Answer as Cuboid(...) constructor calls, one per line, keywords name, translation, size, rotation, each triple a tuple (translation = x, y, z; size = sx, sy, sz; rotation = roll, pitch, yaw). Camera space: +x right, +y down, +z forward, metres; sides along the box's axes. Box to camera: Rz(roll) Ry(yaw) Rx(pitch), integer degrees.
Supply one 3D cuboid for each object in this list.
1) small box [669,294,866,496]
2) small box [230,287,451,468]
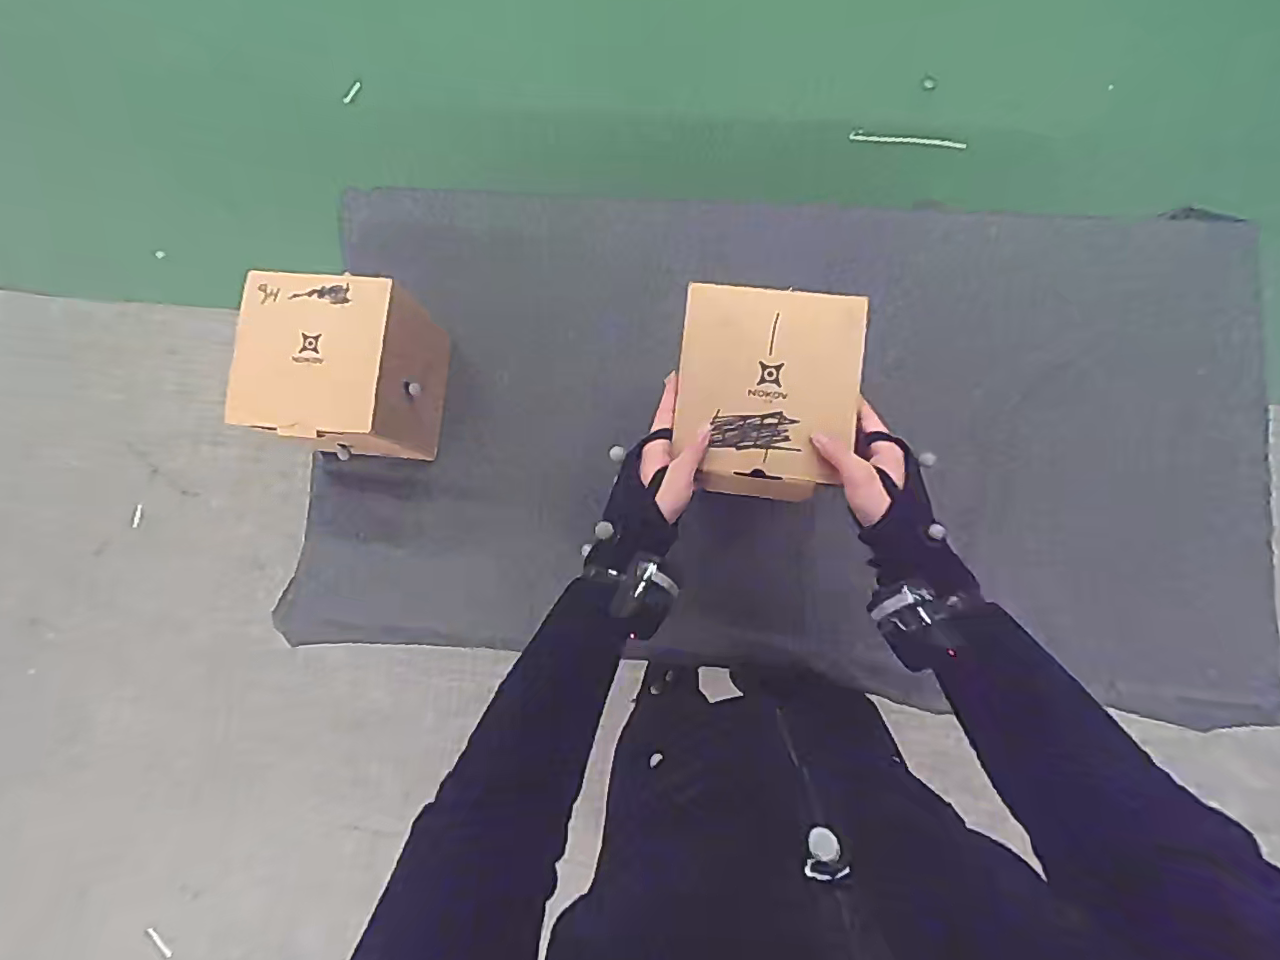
Cuboid(name="small box", translation=(0.124, -0.076, 0.575), size=(0.168, 0.176, 0.179), rotation=(6, 87, 5))
Cuboid(name="small box", translation=(-0.345, -0.112, 0.657), size=(0.168, 0.176, 0.179), rotation=(4, 84, 2))
